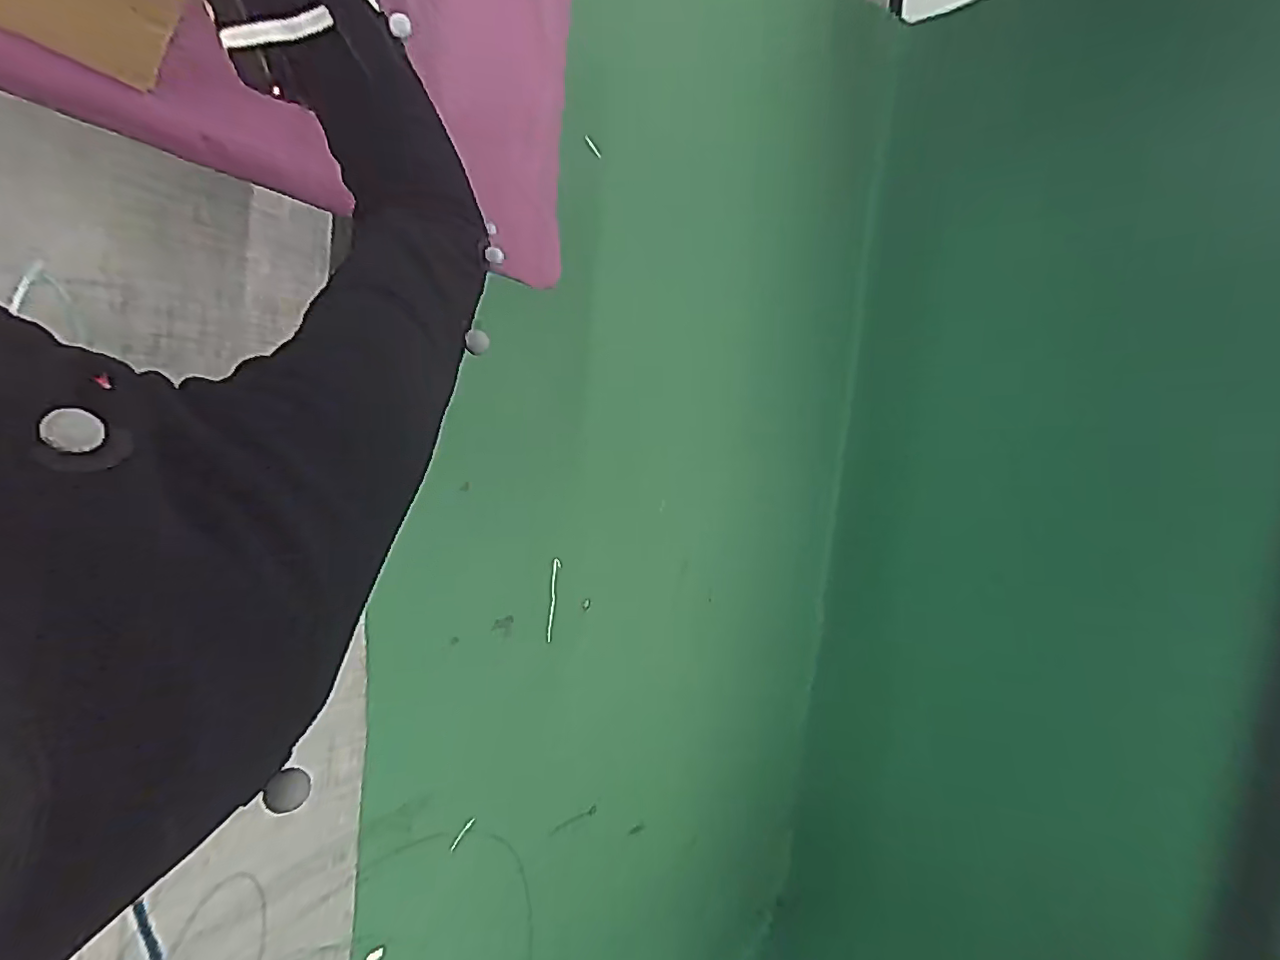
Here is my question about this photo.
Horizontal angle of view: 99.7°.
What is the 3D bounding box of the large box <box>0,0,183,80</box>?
[{"bbox_3d":[-0.478,-0.595,0.344,0.320,0.320,0.408,5,93,-48],"label":"large box"}]
